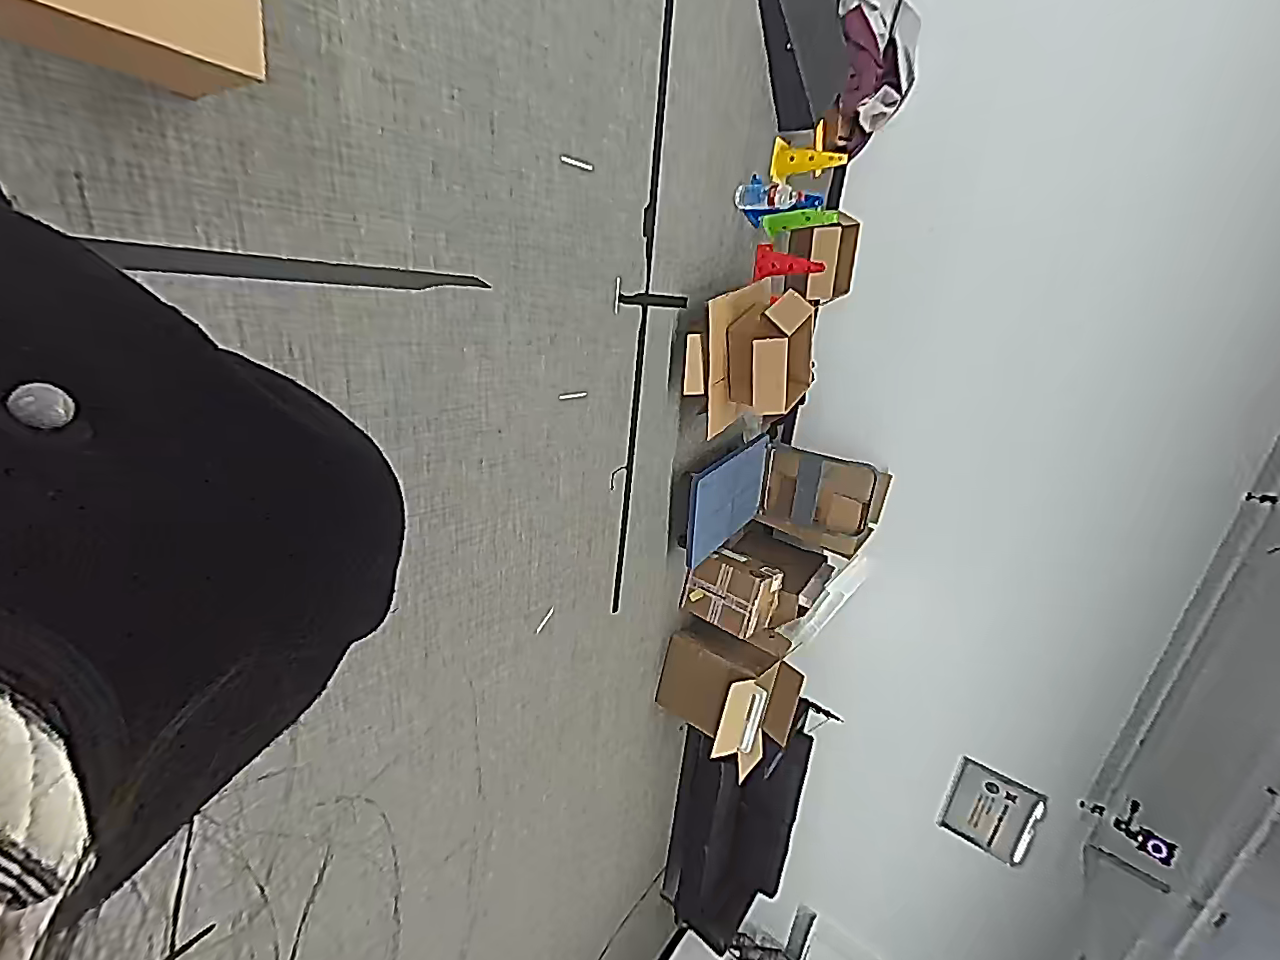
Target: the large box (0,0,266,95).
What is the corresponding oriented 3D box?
[{"bbox_3d":[-0.841,-0.812,0.774,0.408,0.320,0.320,-18,121,-52],"label":"large box"}]
